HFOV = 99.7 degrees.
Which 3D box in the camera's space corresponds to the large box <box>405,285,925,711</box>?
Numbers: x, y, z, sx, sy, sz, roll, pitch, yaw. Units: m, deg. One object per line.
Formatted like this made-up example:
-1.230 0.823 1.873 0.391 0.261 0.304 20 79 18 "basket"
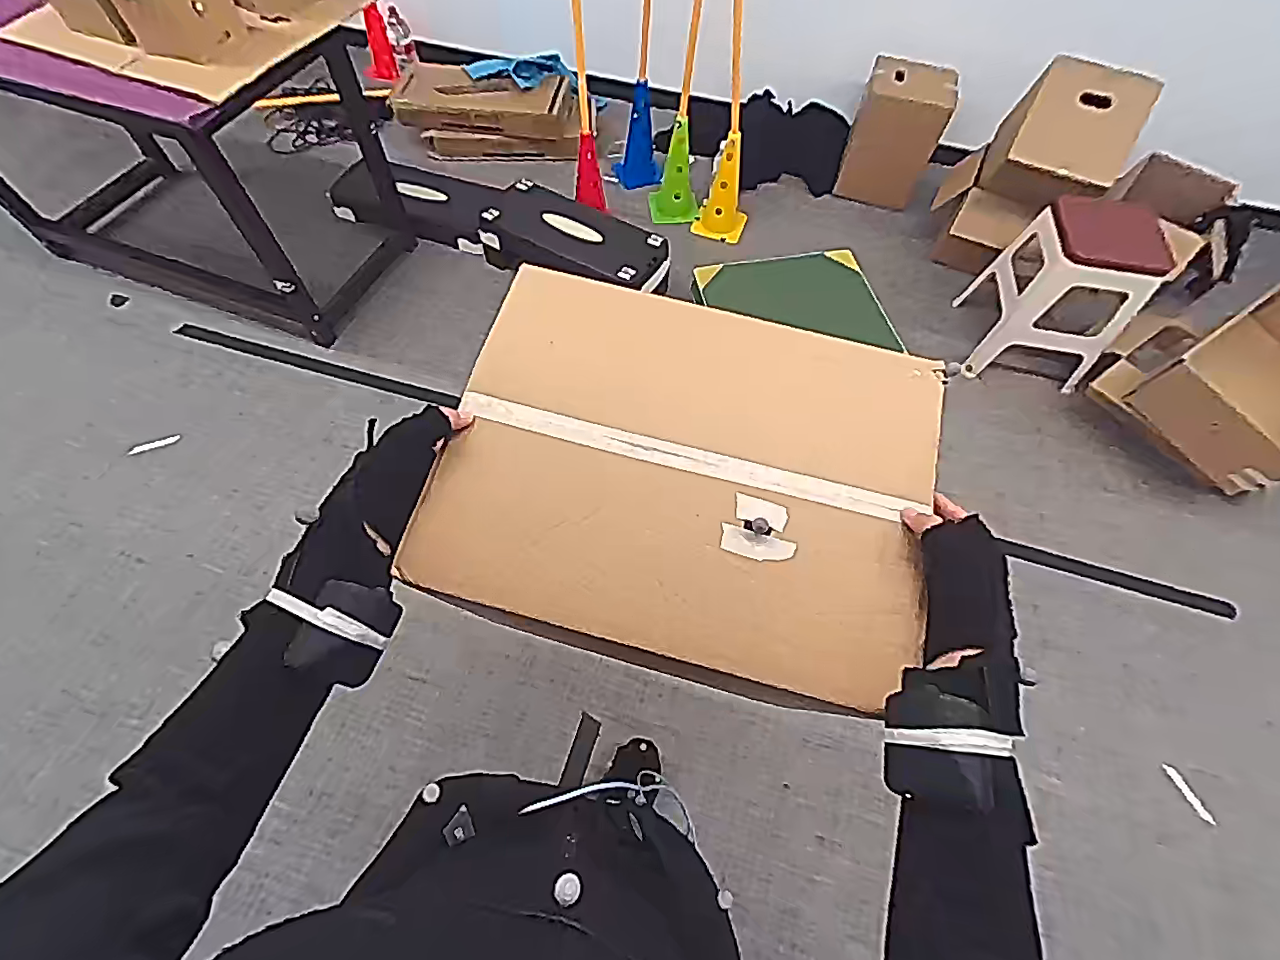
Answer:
0.033 0.043 0.605 0.408 0.320 0.320 15 71 3 "large box"
